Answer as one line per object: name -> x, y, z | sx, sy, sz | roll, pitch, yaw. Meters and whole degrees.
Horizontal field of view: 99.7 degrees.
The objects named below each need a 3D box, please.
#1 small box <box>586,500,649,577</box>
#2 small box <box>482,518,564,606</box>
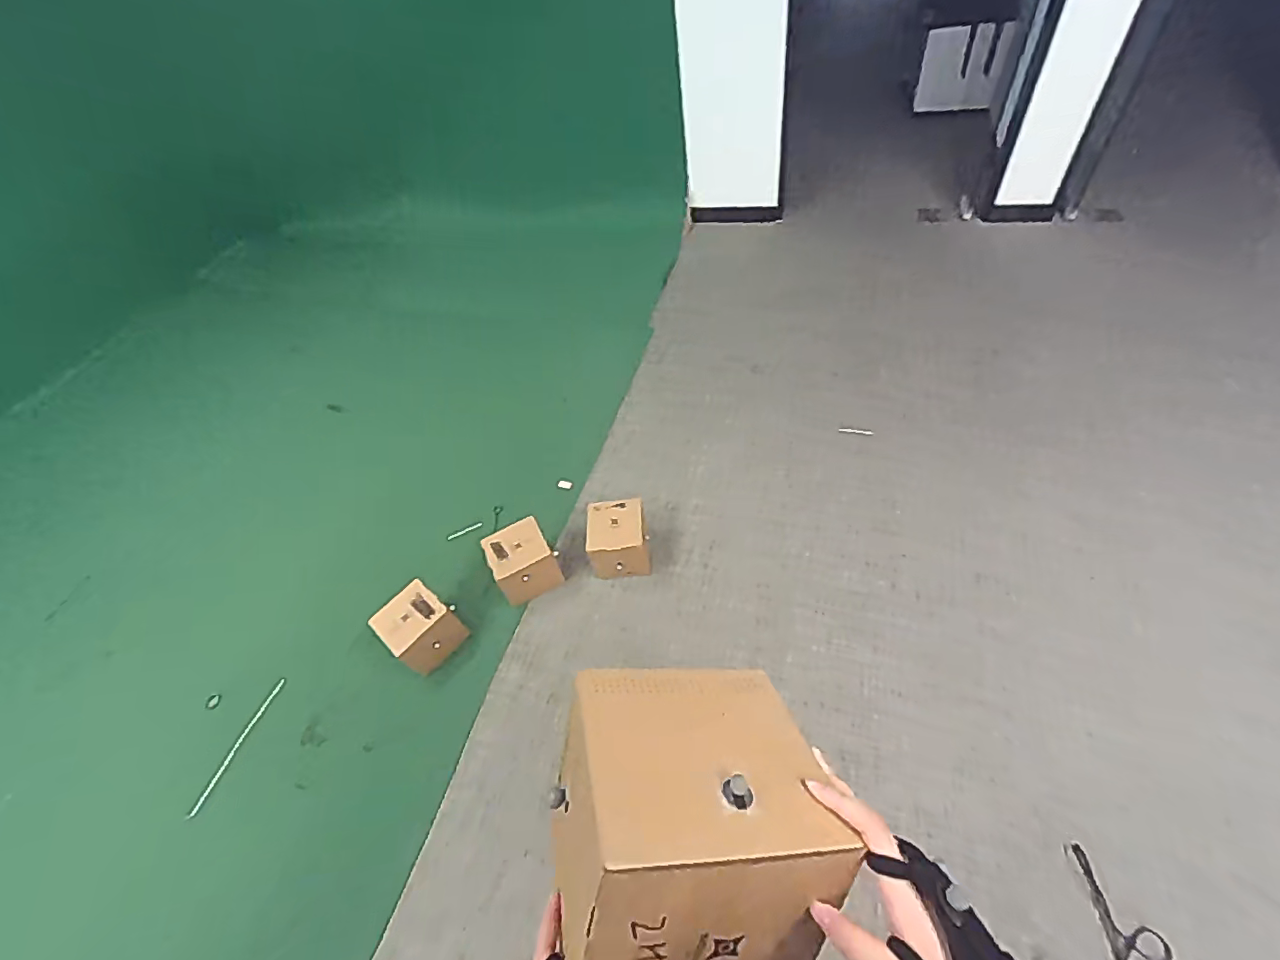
small box -> -0.064, 0.187, 1.660 | 0.168, 0.176, 0.179 | -6, 52, 6
small box -> -0.355, 0.256, 1.662 | 0.179, 0.176, 0.168 | -26, 52, -11
